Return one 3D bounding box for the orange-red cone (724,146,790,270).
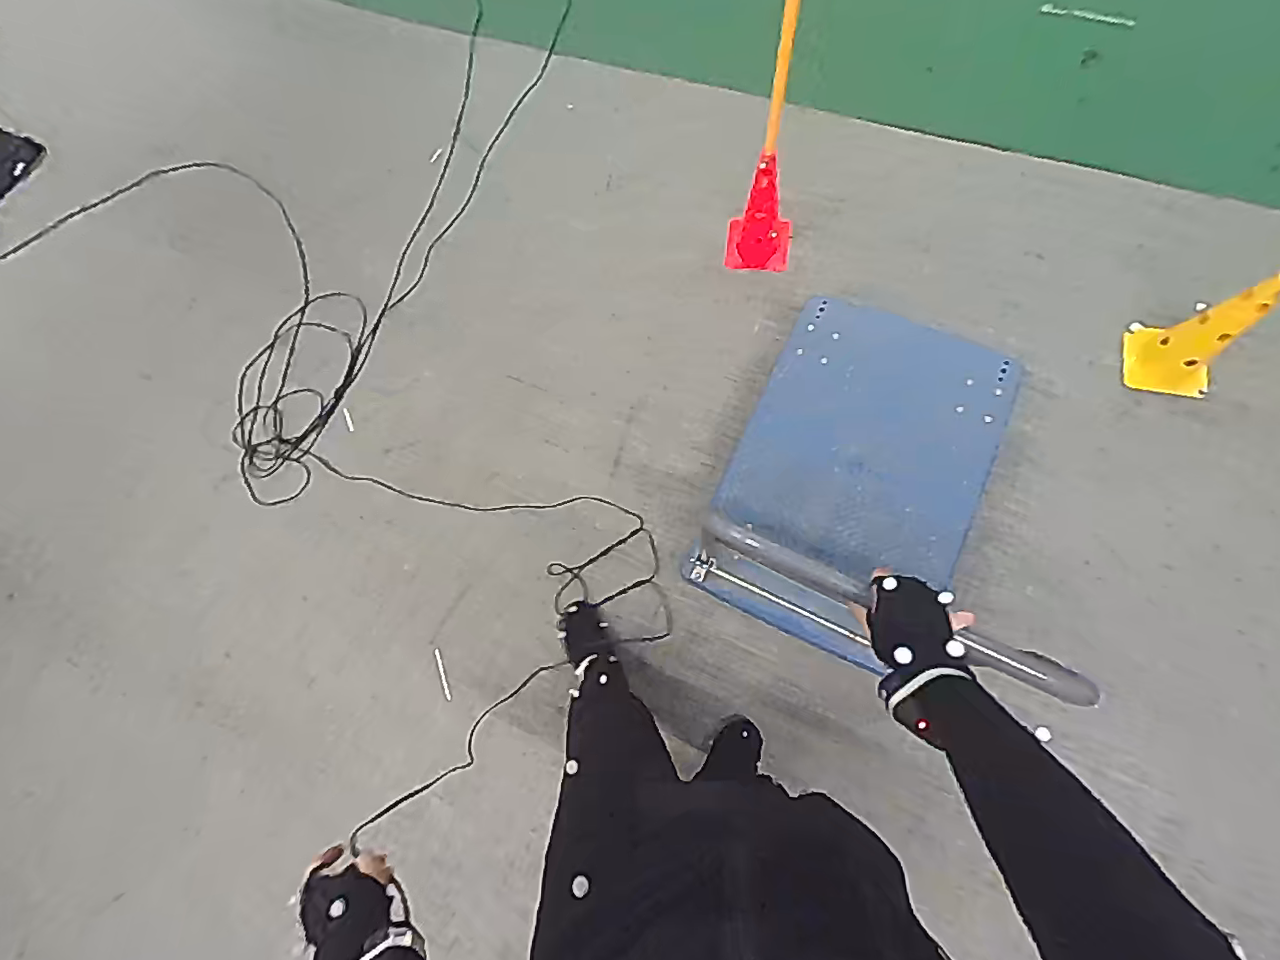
[{"bbox_3d":[0.357,-0.820,1.600,0.199,0.360,0.198,7,74,11],"label":"orange-red cone"}]
